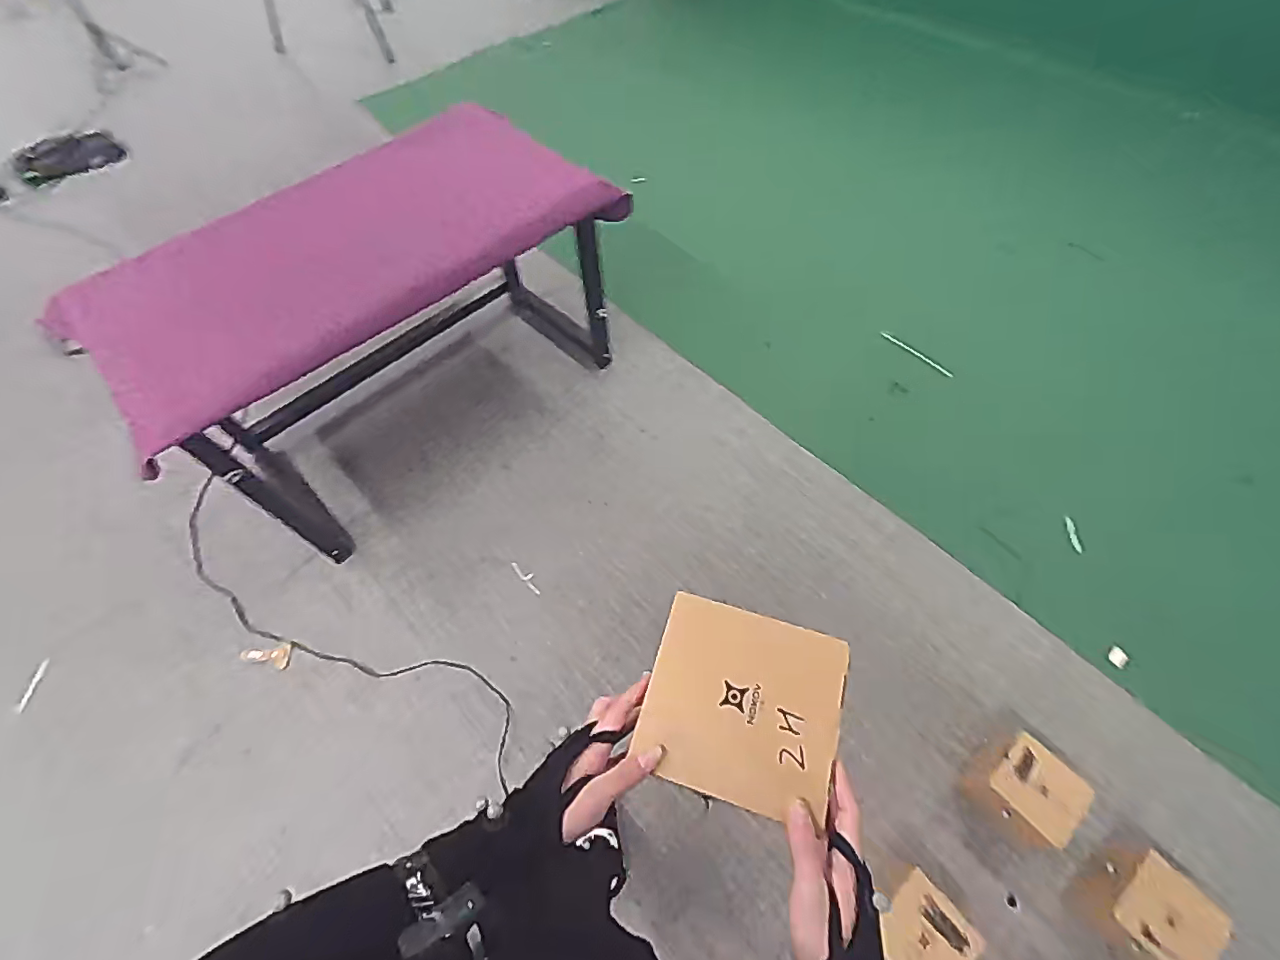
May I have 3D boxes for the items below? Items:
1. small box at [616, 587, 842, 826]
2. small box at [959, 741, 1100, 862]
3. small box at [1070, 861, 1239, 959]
[{"bbox_3d":[0.088,0.234,0.561,0.179,0.176,0.168,15,63,10],"label":"small box"},{"bbox_3d":[0.894,0.747,1.262,0.168,0.176,0.179,-37,66,-19],"label":"small box"},{"bbox_3d":[1.069,0.943,1.140,0.179,0.176,0.168,-35,64,-19],"label":"small box"}]
